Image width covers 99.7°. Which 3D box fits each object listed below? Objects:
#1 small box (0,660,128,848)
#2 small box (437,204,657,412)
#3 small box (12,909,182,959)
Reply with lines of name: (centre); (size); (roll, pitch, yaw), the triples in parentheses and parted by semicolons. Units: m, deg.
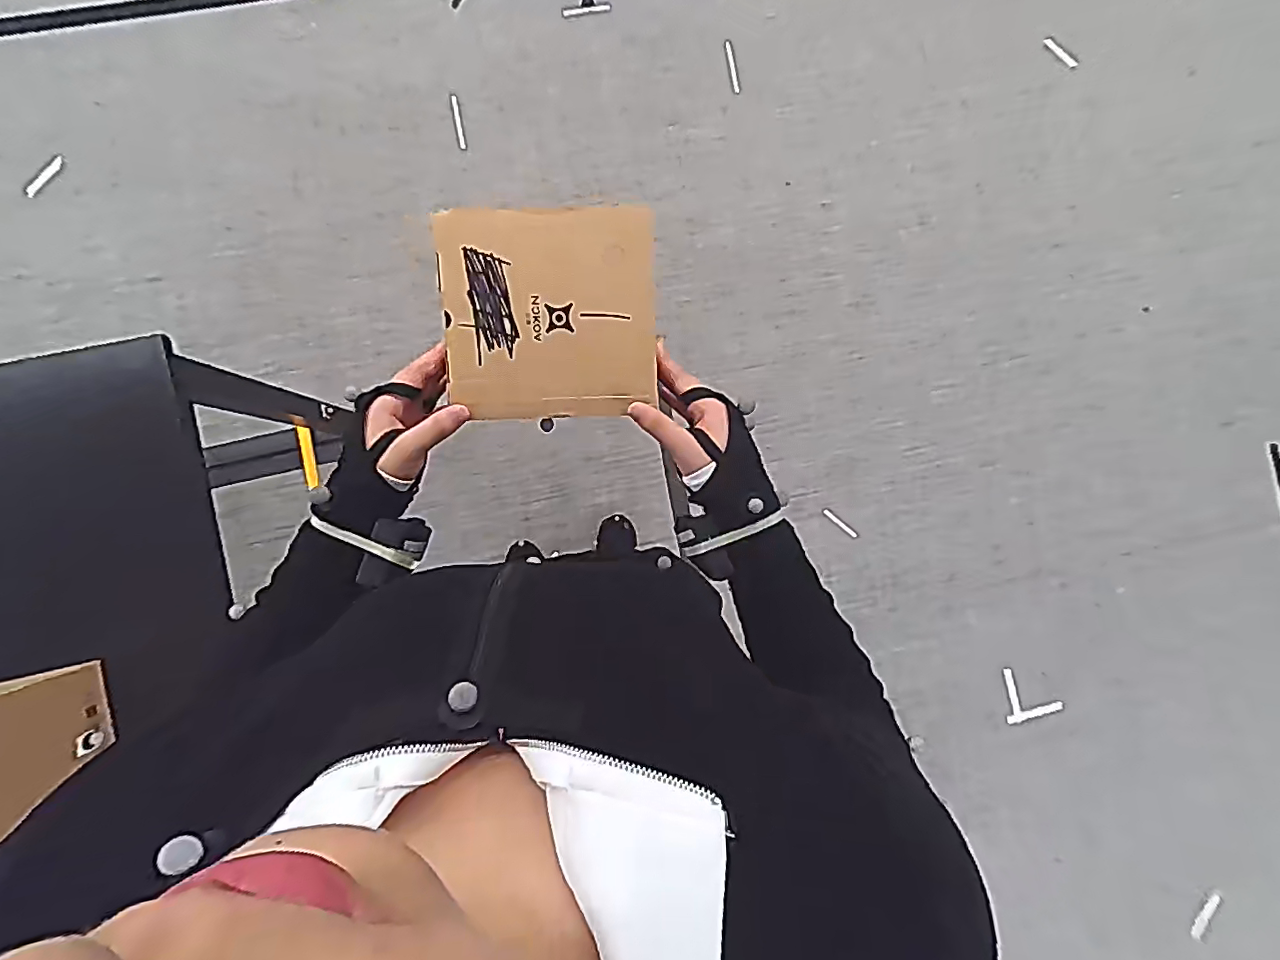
small box: (-0.782, 0.334, 0.643); (0.179, 0.176, 0.168); (-13, 90, -4)
small box: (-0.074, -0.150, 0.519); (0.179, 0.176, 0.168); (-2, 100, -1)
small box: (-0.690, 0.660, 0.636); (0.179, 0.176, 0.168); (-10, 89, -4)
